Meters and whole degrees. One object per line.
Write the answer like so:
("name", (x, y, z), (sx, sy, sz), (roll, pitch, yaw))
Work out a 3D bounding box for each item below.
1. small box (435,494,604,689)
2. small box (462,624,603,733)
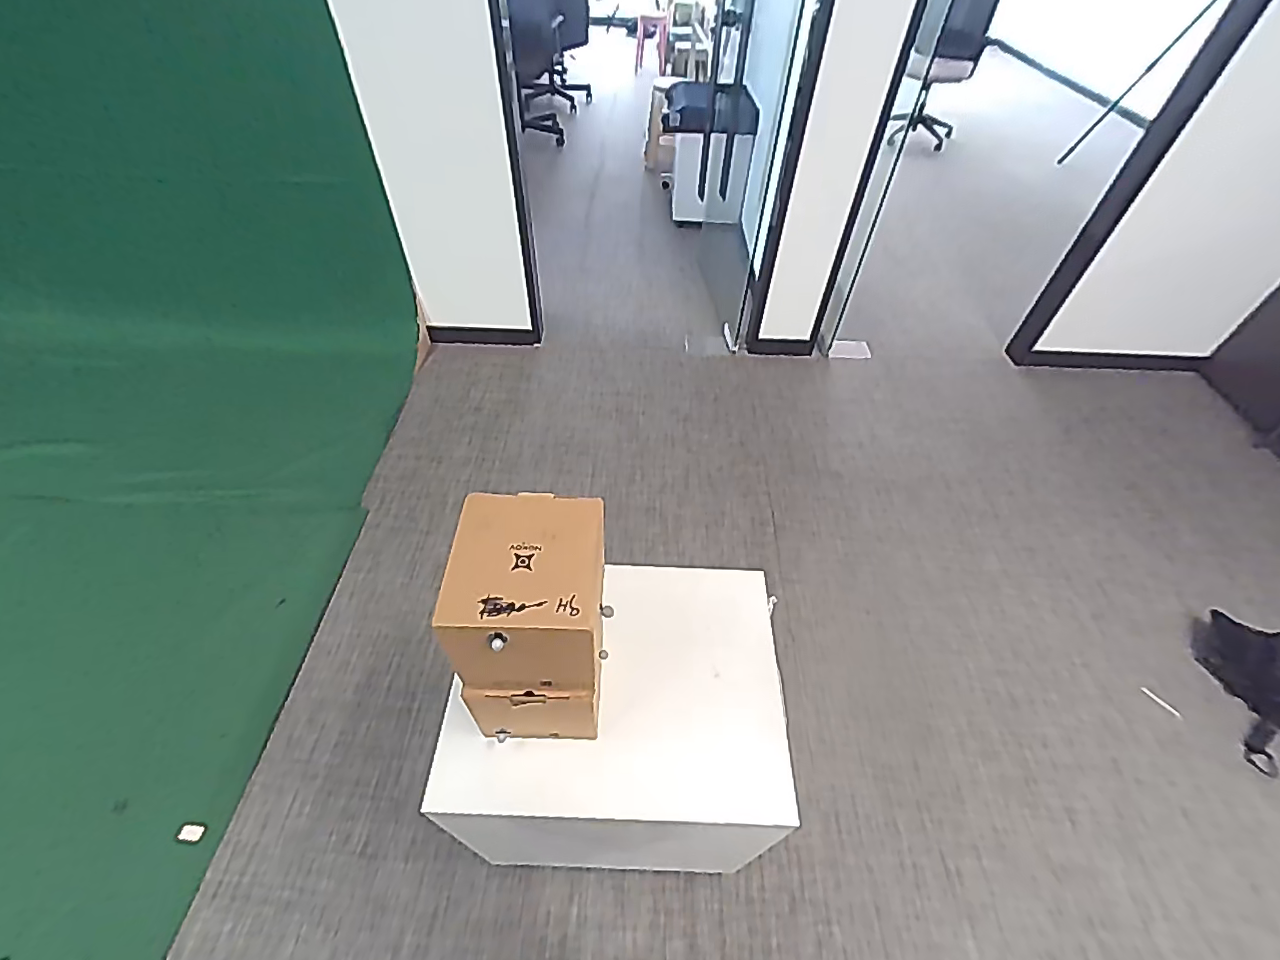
("small box", (-0.132, 0.139, 0.669), (0.168, 0.176, 0.179), (1, 48, -1))
("small box", (-0.142, 0.254, 0.785), (0.168, 0.176, 0.179), (2, 48, -1))
